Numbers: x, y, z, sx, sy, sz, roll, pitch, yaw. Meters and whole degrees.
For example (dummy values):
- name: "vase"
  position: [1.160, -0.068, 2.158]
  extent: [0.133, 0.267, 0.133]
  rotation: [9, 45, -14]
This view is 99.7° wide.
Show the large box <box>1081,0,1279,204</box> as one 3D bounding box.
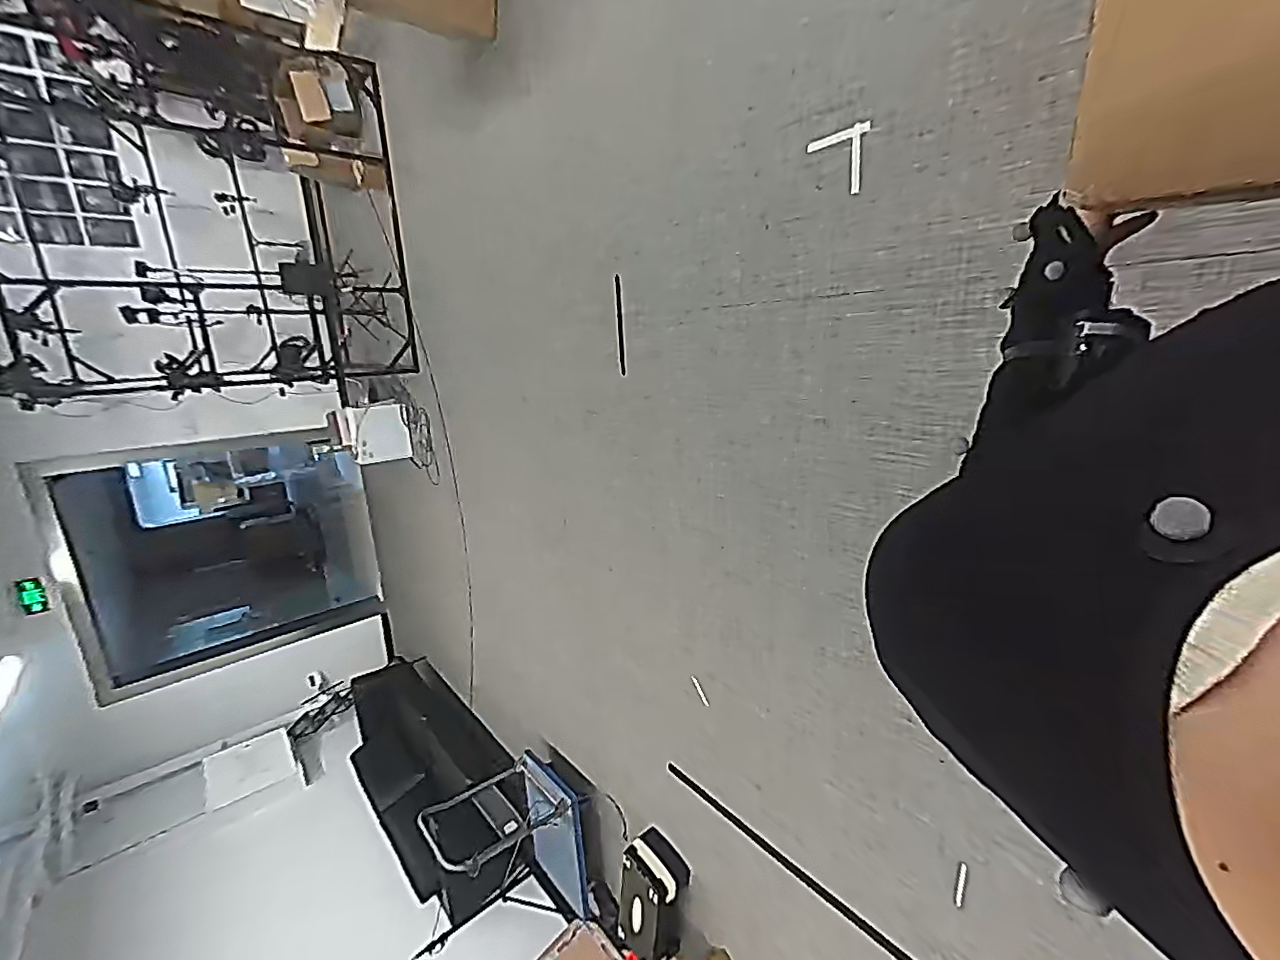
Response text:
- name: "large box"
  position: [0.437, -0.298, 0.178]
  extent: [0.408, 0.320, 0.320]
  rotation: [13, 118, 41]
